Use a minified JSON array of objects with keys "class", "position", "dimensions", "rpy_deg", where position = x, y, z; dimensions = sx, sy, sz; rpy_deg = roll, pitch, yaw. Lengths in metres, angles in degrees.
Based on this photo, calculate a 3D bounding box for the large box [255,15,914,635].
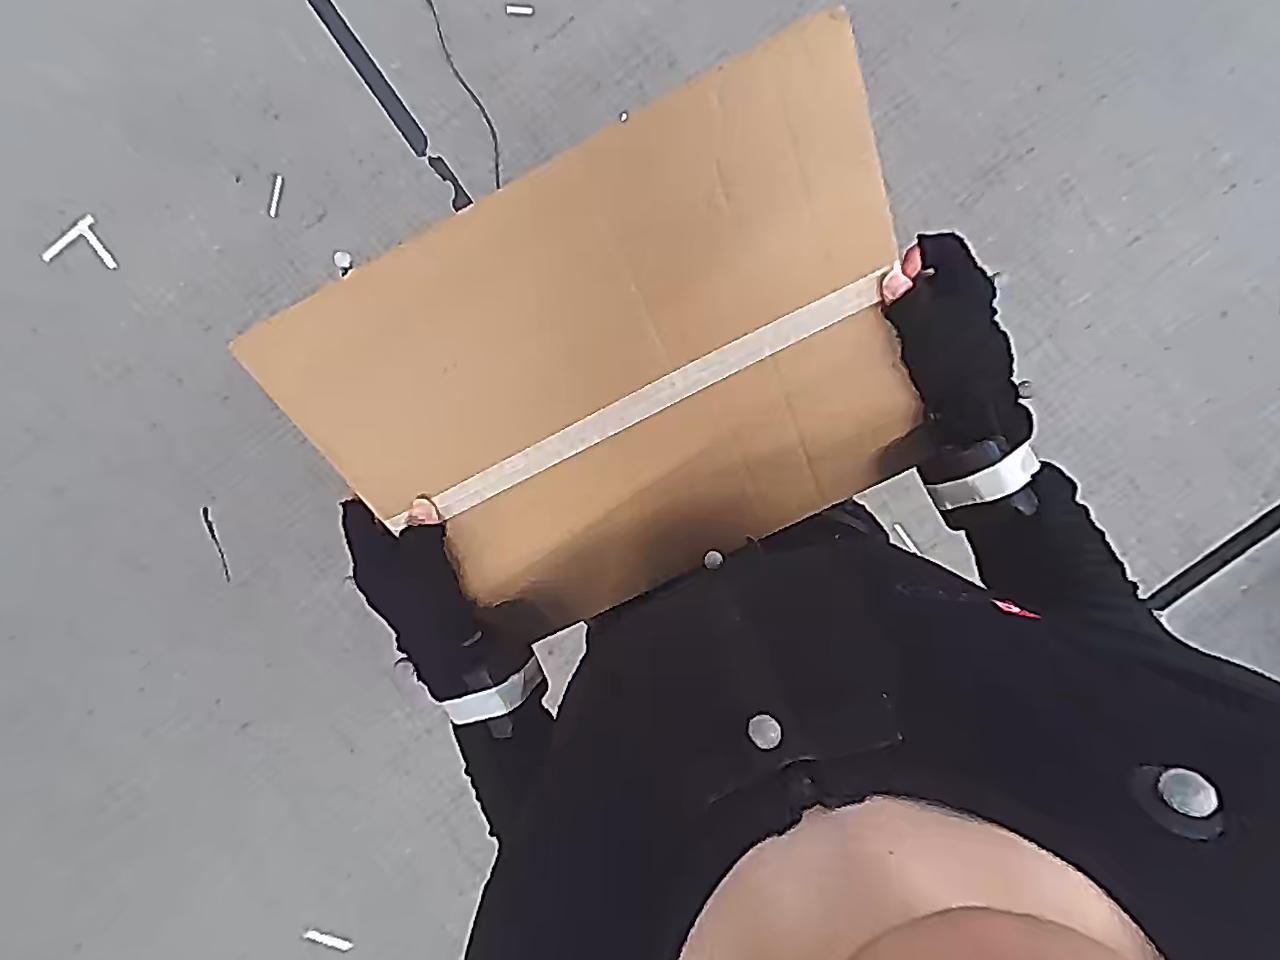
[{"class":"large box","position":[-0.033,-0.130,0.527],"dimensions":[0.408,0.320,0.320],"rpy_deg":[-26,120,6]}]
